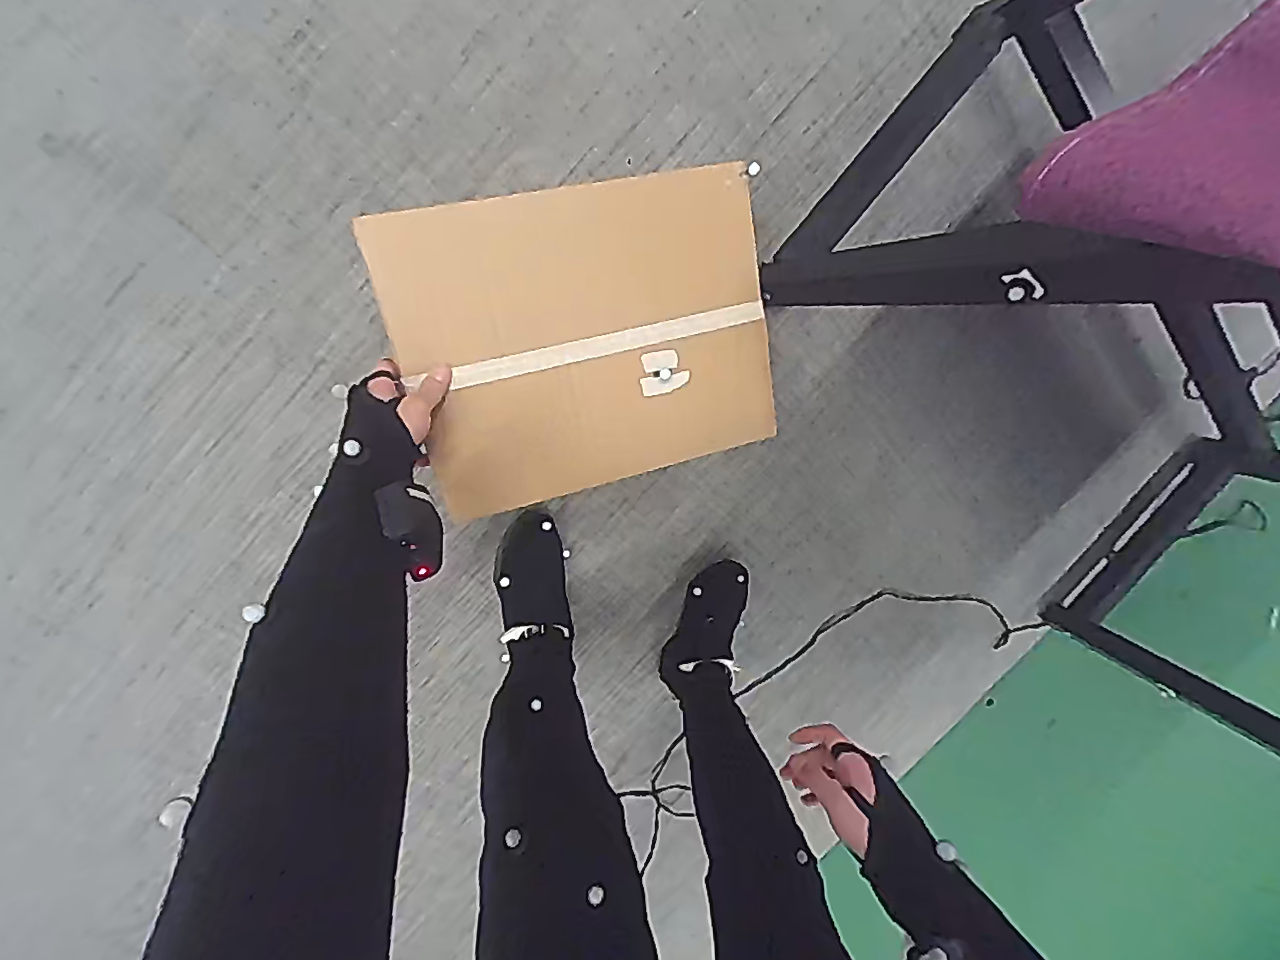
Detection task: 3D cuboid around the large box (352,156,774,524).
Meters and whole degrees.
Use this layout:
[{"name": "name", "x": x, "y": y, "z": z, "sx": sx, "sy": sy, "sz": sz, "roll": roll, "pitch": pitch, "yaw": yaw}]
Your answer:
[{"name": "large box", "x": -0.093, "y": -0.184, "z": 0.716, "sx": 0.408, "sy": 0.320, "sz": 0.320, "roll": -17, "pitch": 110, "yaw": -13}]
